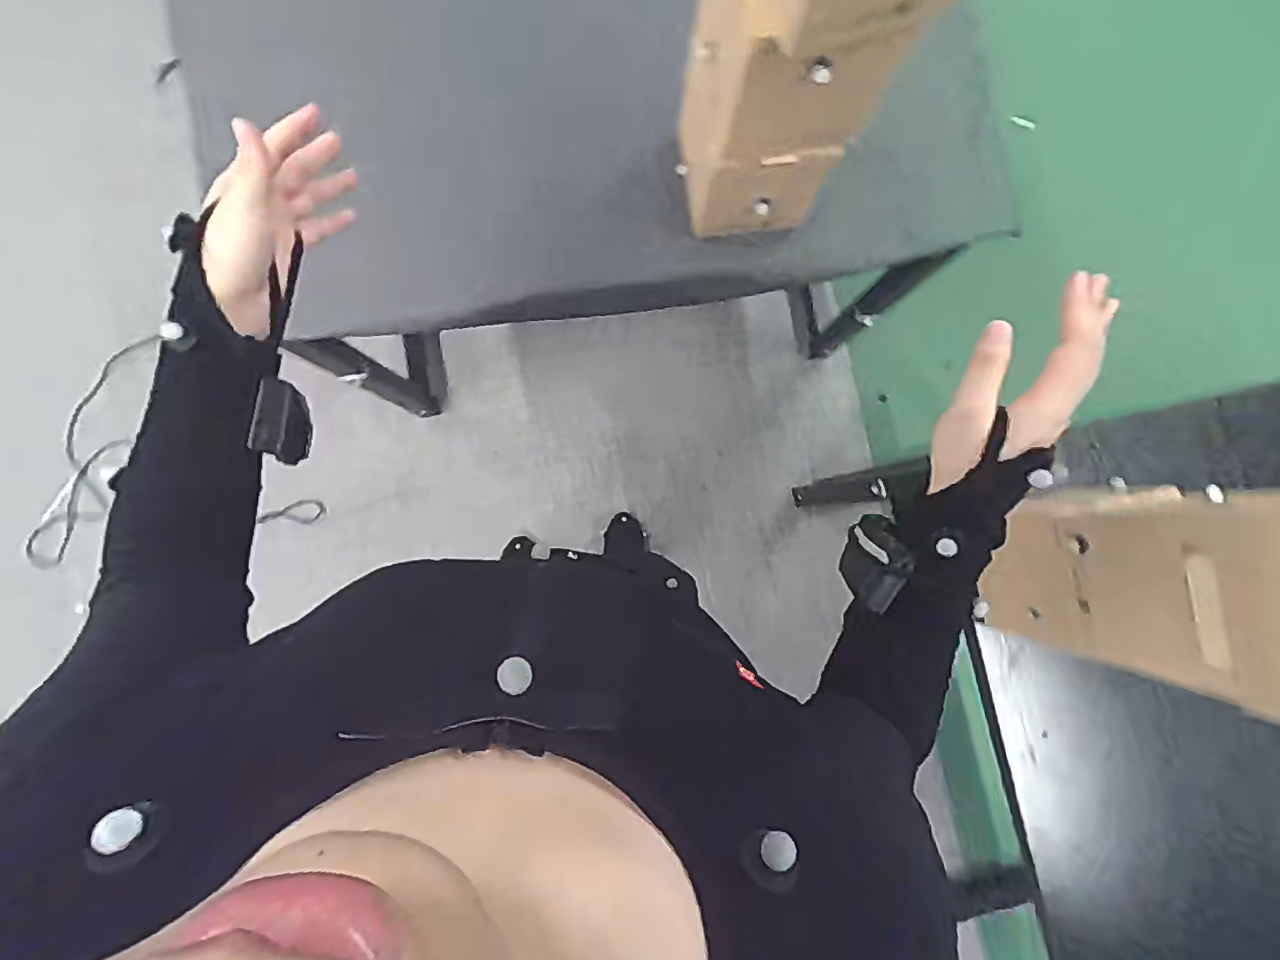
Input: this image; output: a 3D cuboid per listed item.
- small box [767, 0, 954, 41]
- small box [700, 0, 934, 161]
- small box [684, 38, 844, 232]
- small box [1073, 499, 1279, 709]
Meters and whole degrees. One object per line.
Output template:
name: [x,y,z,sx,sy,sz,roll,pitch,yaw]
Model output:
small box: [0.184,-0.486,0.412,0.168,0.176,0.179,-18,85,-3]
small box: [0.171,-0.478,0.577,0.179,0.176,0.168,-9,85,-1]
small box: [0.158,-0.461,0.739,0.168,0.176,0.179,-8,85,-2]
small box: [0.586,0.111,0.549,0.179,0.176,0.168,-8,88,-3]
